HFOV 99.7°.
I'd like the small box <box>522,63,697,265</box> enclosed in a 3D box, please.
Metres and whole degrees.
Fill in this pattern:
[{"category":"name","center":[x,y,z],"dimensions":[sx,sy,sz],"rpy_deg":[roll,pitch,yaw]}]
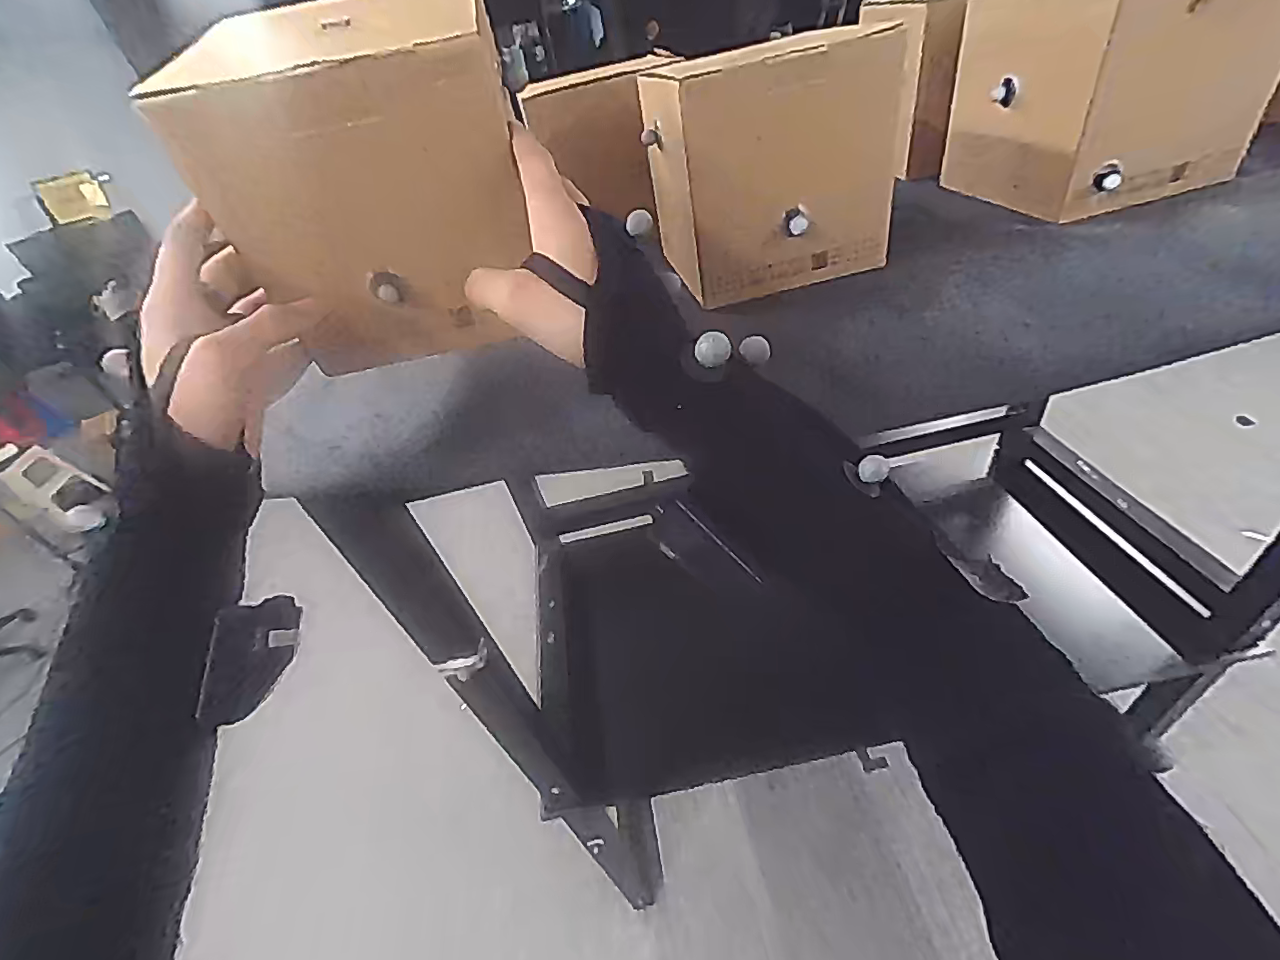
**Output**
[{"category":"small box","center":[-0.034,-0.383,0.656],"dimensions":[0.179,0.176,0.168],"rpy_deg":[-15,39,-2]}]

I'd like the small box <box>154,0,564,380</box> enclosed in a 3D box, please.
[{"category":"small box","center":[-0.155,-0.197,0.368],"dimensions":[0.168,0.176,0.179],"rpy_deg":[-13,52,-3]}]

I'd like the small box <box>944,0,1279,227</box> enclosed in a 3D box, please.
[{"category":"small box","center":[0.417,-0.350,0.497],"dimensions":[0.168,0.176,0.179],"rpy_deg":[-14,39,-1]}]
